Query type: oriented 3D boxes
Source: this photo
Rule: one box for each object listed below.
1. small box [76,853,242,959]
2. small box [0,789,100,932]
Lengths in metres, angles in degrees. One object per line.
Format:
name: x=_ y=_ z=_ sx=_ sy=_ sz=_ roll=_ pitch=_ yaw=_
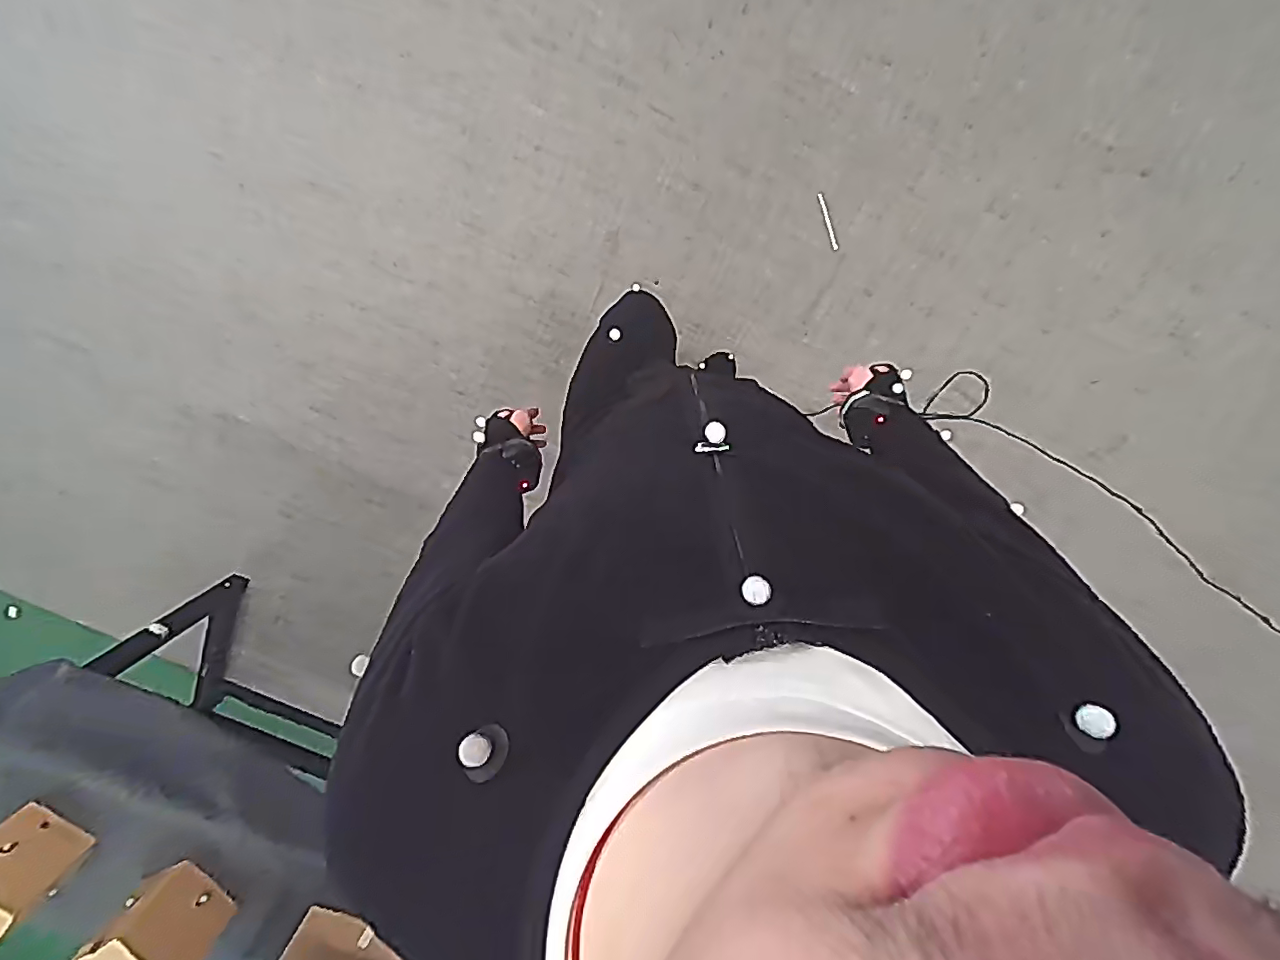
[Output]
small box: x=-1.048 y=0.965 z=1.193 sx=0.168 sy=0.176 sz=0.179 roll=-30 pitch=102 yaw=13
small box: x=-1.345 y=0.819 z=1.172 sx=0.168 sy=0.176 sz=0.179 roll=41 pitch=108 yaw=-7
